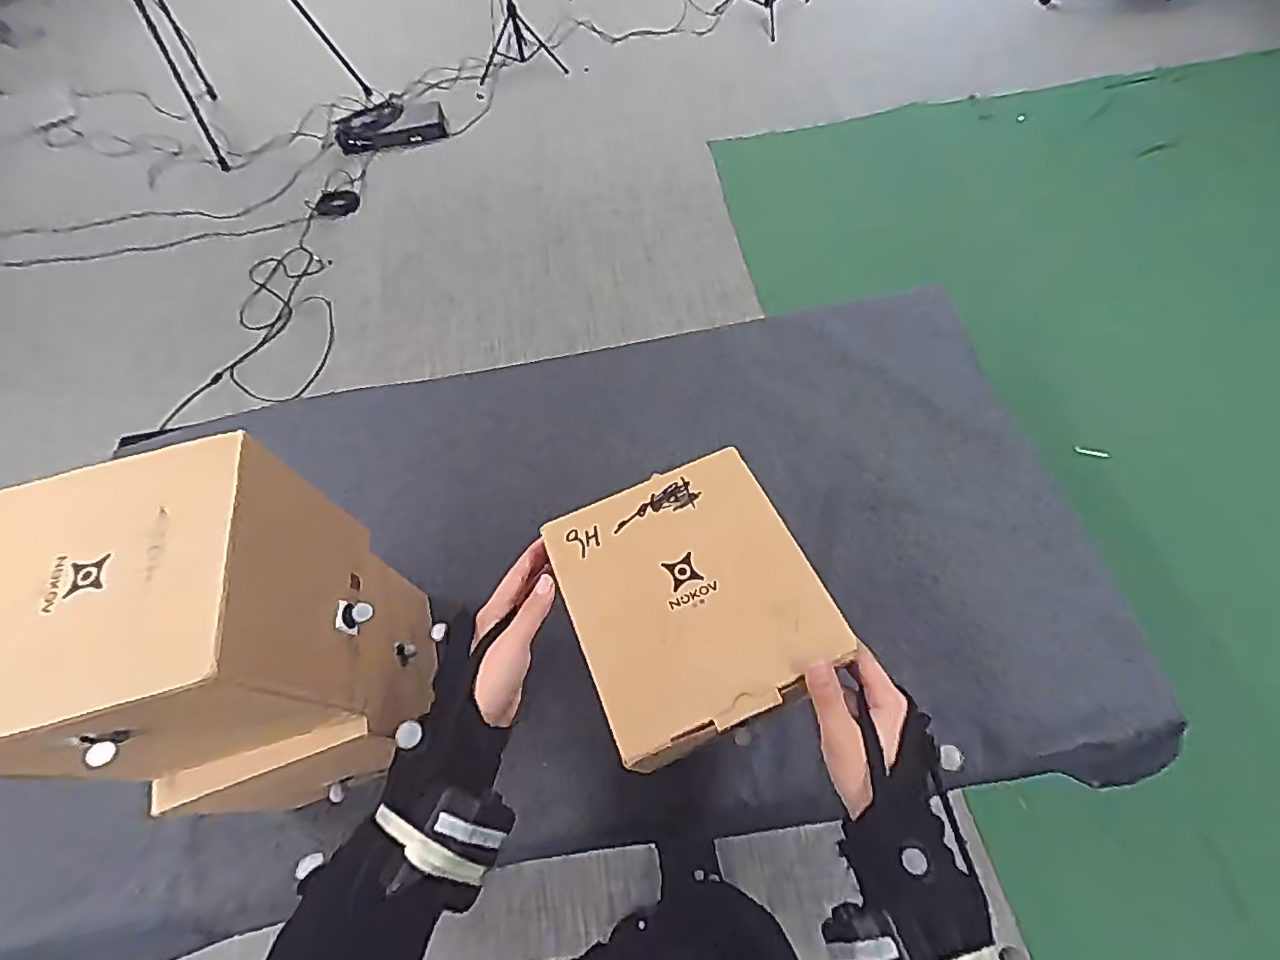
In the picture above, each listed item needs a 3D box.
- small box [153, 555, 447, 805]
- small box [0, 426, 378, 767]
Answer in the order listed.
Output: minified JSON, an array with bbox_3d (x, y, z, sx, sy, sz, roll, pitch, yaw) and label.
[{"bbox_3d":[-0.304,0.188,0.518,0.168,0.176,0.179,-19,61,-6],"label":"small box"},{"bbox_3d":[-0.315,0.093,0.385,0.179,0.176,0.168,-16,62,-4],"label":"small box"}]
